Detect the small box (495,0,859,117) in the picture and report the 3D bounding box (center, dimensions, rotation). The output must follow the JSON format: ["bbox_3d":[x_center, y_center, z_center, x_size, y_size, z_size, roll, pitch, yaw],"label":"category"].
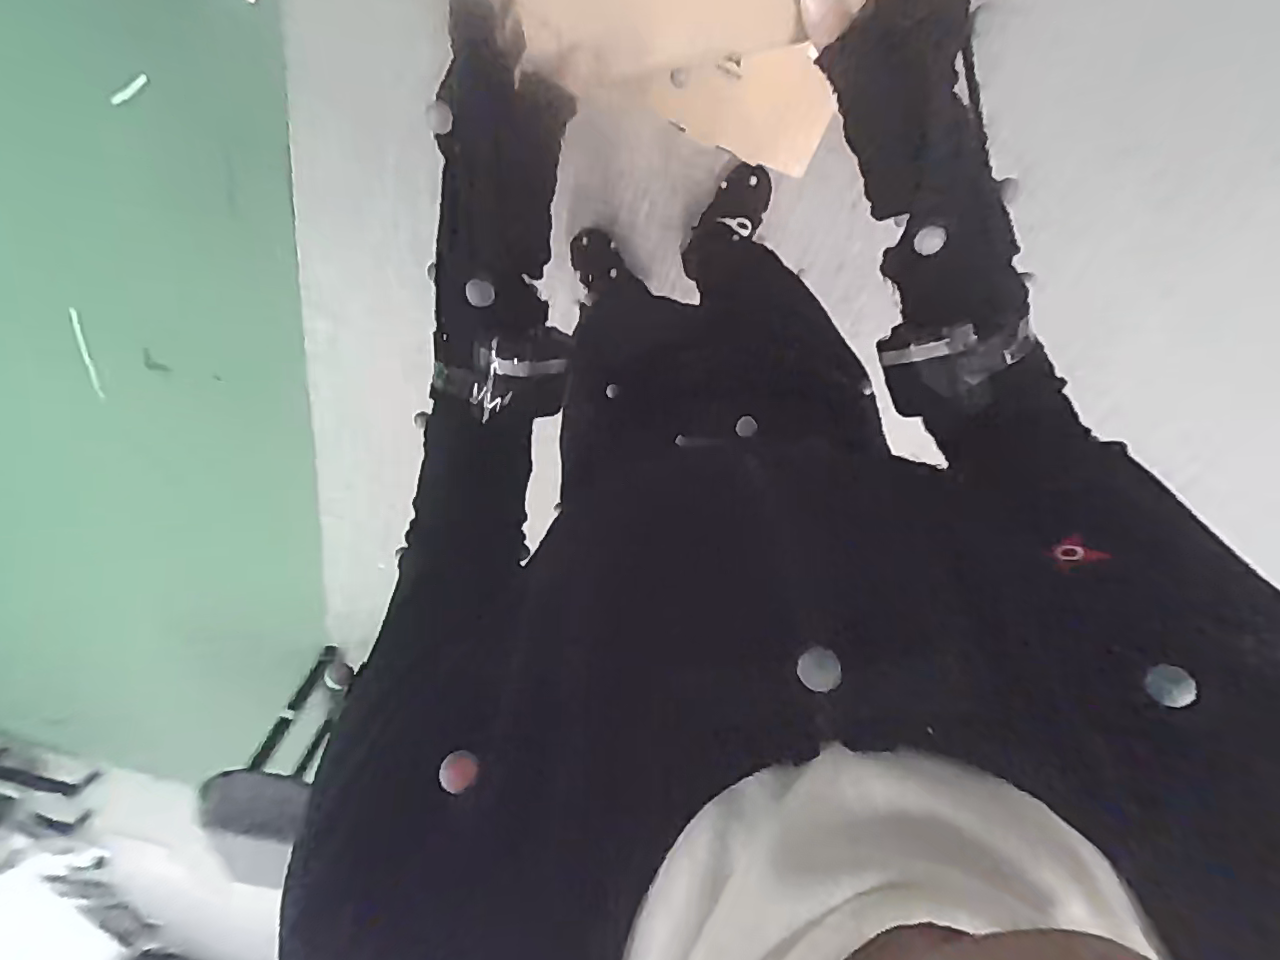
[{"bbox_3d":[0.008,-0.322,0.288,0.179,0.176,0.168,-8,131,9],"label":"small box"}]

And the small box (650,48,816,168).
[{"bbox_3d":[0.128,-0.556,0.723,0.168,0.176,0.179,21,129,-7],"label":"small box"}]
